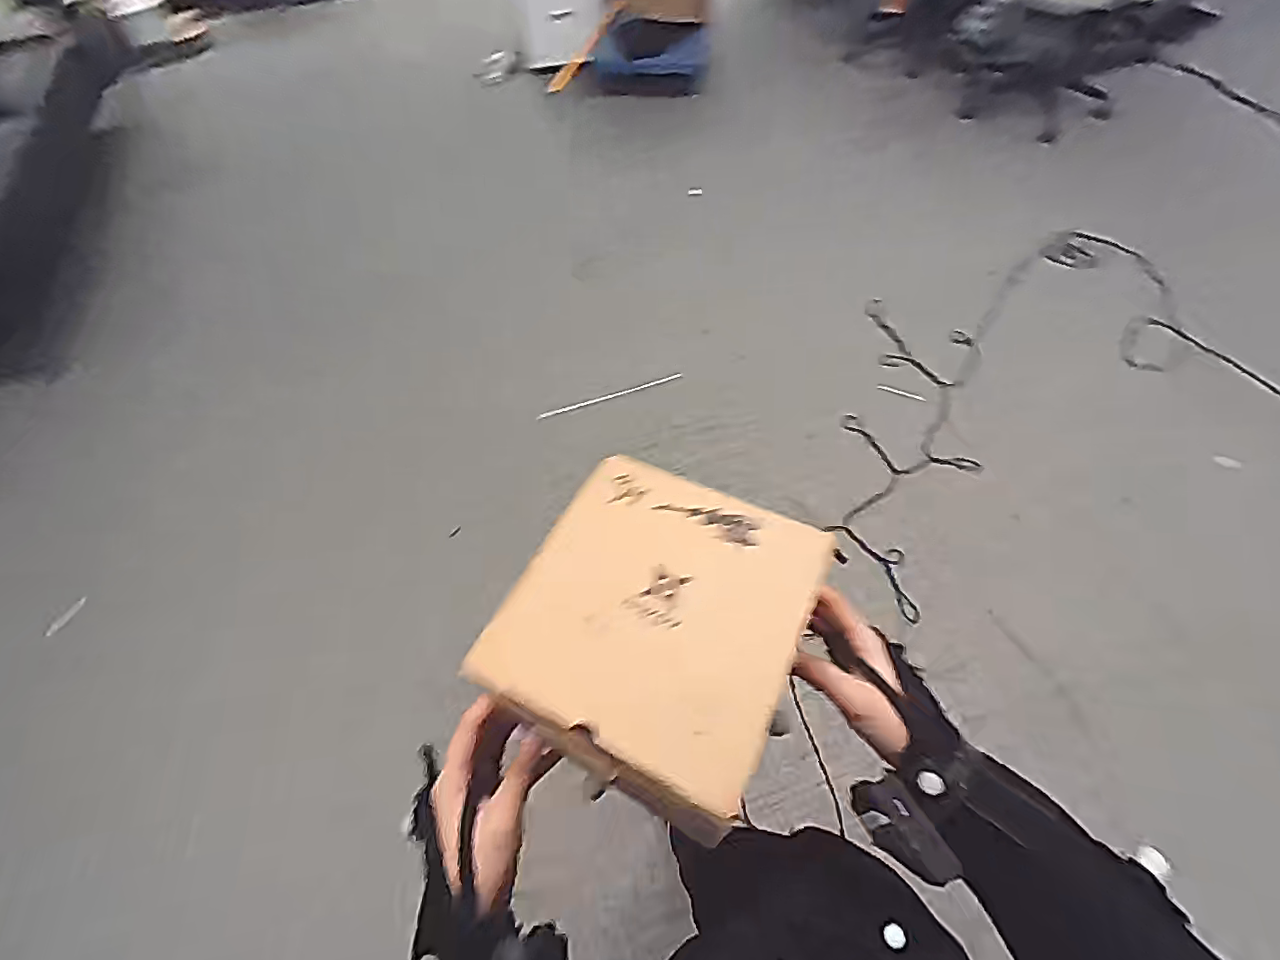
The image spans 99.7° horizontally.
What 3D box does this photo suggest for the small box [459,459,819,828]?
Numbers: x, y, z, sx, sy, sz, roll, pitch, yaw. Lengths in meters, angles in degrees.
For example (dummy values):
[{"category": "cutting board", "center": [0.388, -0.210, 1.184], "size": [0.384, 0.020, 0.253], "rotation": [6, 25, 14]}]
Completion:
[{"category": "small box", "center": [0.011, 0.121, 0.391], "size": [0.168, 0.176, 0.179], "rotation": [21, 58, 19]}]
